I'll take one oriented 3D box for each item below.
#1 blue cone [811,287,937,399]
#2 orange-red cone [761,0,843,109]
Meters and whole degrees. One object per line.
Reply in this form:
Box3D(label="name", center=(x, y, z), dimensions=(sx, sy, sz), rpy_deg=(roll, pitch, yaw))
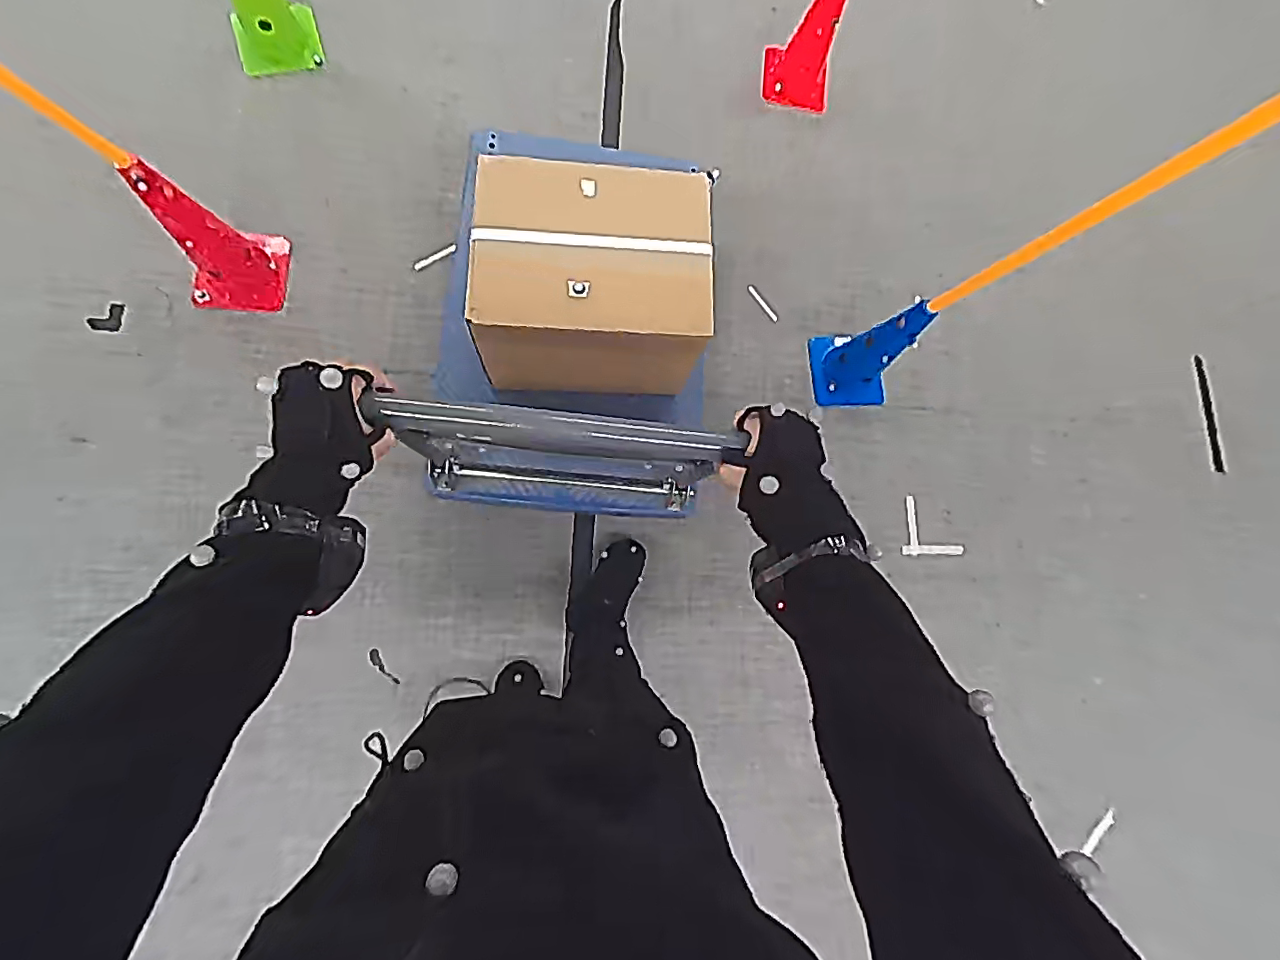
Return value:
Box3D(label="blue cone", center=(0.586, -0.344, 1.312), dimensions=(0.193, 0.380, 0.192), rpy_deg=(-1, 79, -8))
Box3D(label="orange-red cone", center=(0.491, -1.240, 1.448), dimensions=(0.199, 0.360, 0.198), rpy_deg=(10, 79, -7))
